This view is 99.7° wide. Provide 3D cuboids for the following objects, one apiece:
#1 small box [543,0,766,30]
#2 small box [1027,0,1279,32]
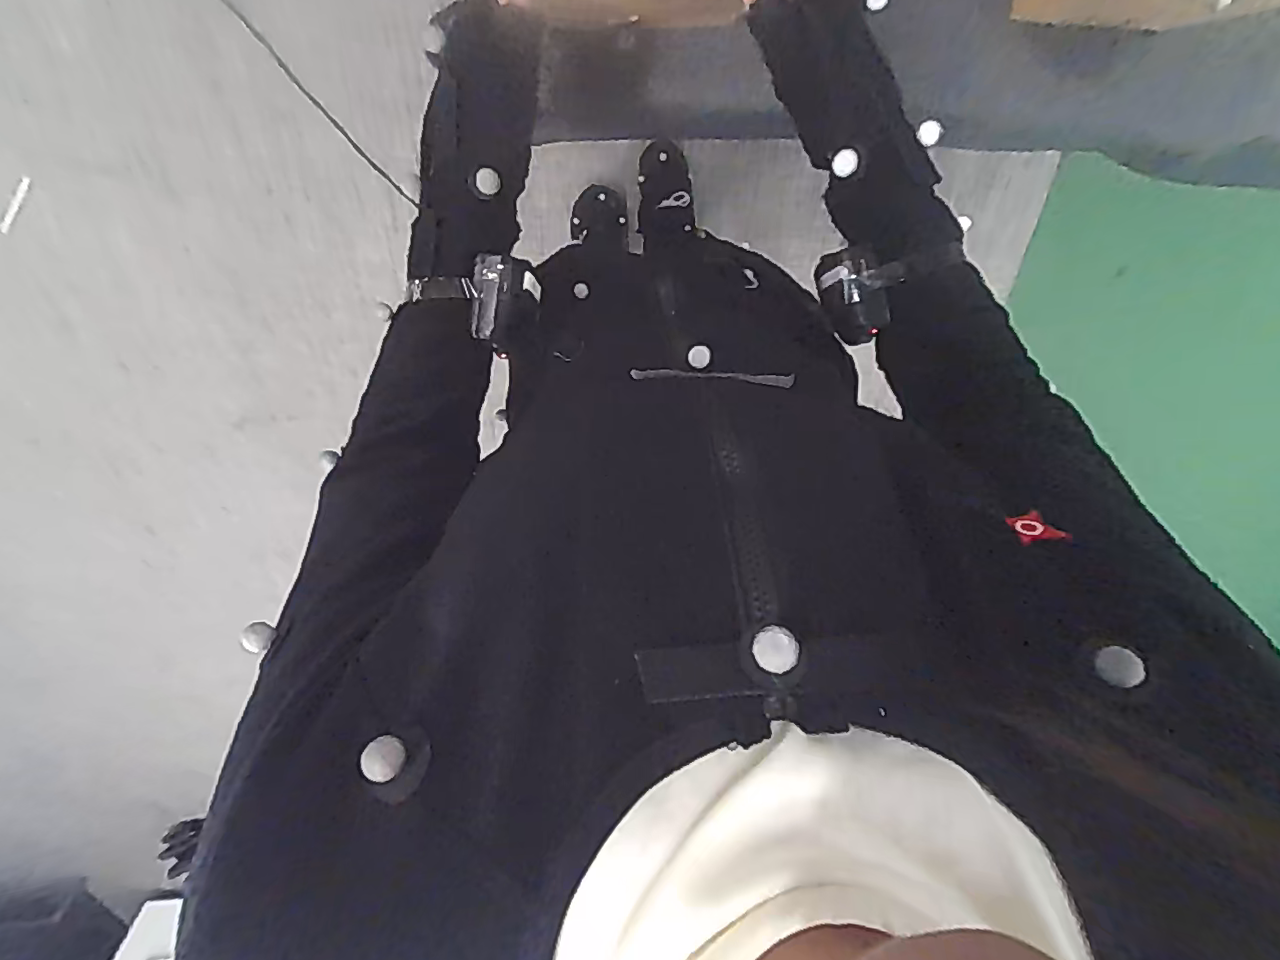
[{"bbox_3d":[0.006,-0.411,0.338,0.168,0.176,0.179,-3,123,-4],"label":"small box"},{"bbox_3d":[0.430,-0.454,0.387,0.168,0.176,0.179,-2,121,-6],"label":"small box"}]
